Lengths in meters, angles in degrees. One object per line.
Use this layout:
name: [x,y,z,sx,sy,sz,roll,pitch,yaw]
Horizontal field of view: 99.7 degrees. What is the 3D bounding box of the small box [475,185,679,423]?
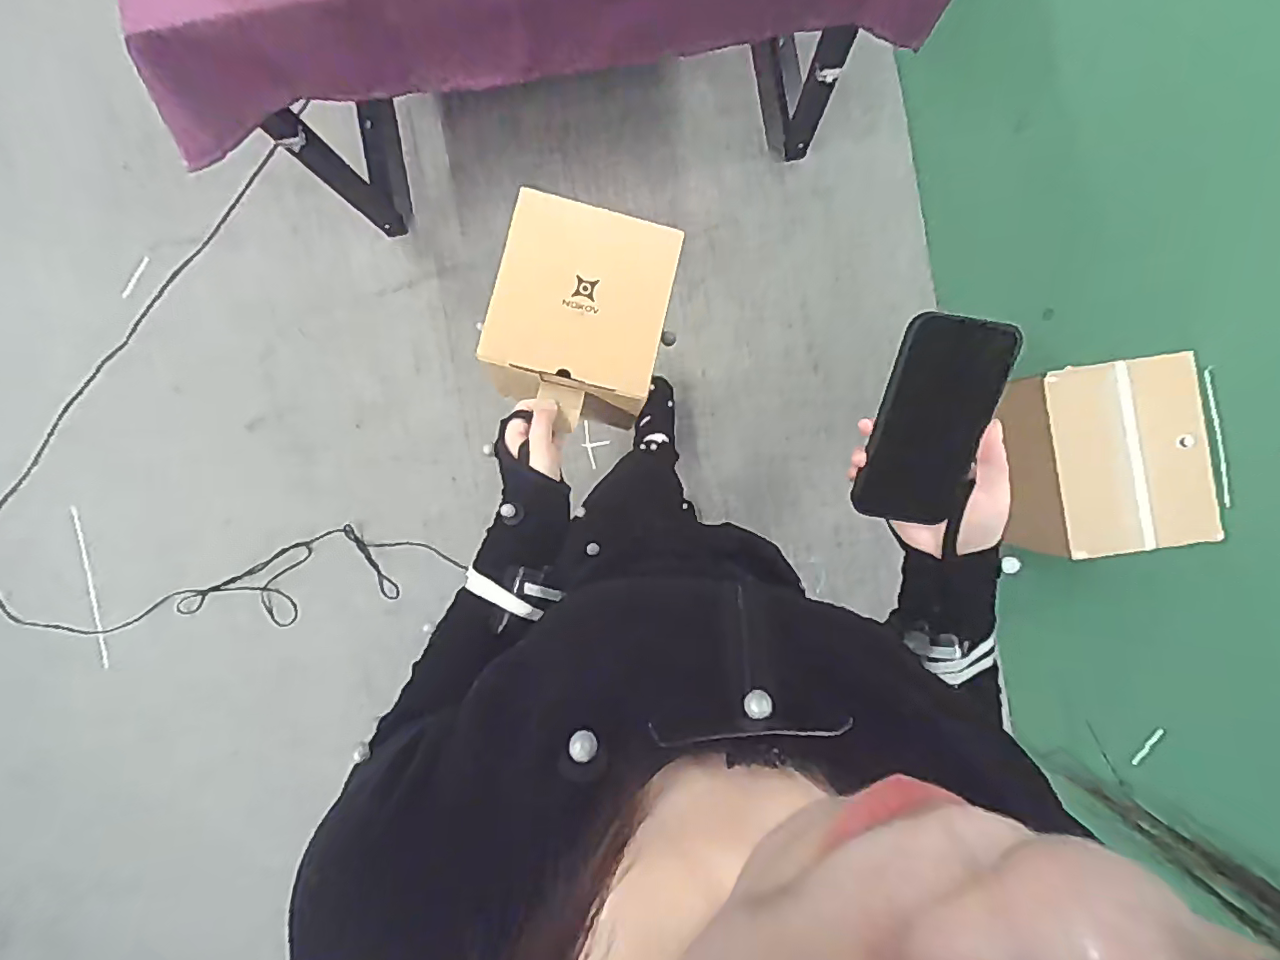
small box: [-0.067,-0.177,0.598,0.168,0.176,0.179,14,85,-5]
